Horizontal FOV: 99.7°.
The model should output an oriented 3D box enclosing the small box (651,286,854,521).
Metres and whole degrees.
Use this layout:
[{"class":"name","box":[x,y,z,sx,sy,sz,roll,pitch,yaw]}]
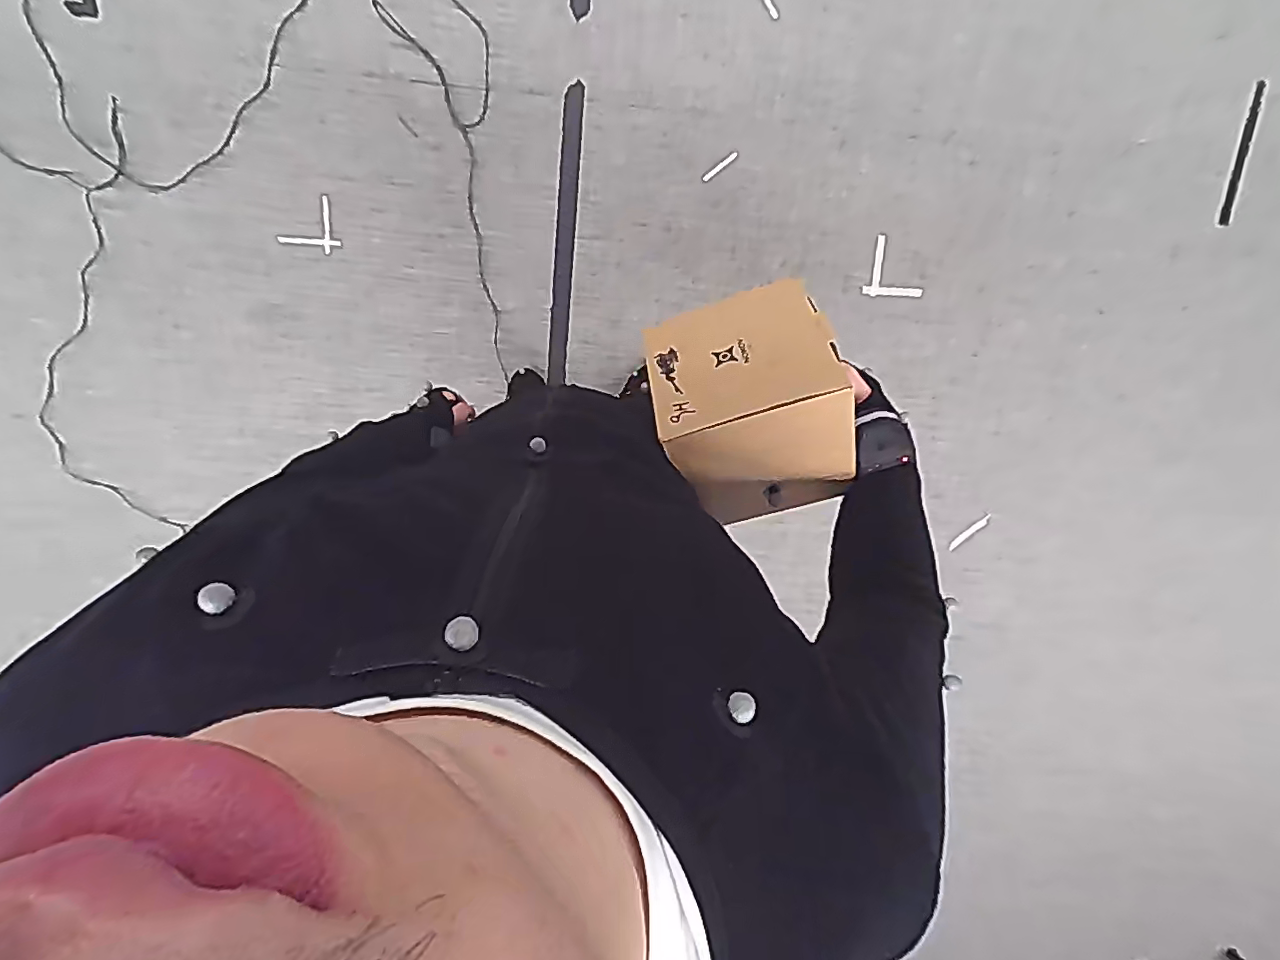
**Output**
[{"class":"small box","box":[0.125,-0.077,0.605,0.179,0.168,0.176,-16,140,11]}]
